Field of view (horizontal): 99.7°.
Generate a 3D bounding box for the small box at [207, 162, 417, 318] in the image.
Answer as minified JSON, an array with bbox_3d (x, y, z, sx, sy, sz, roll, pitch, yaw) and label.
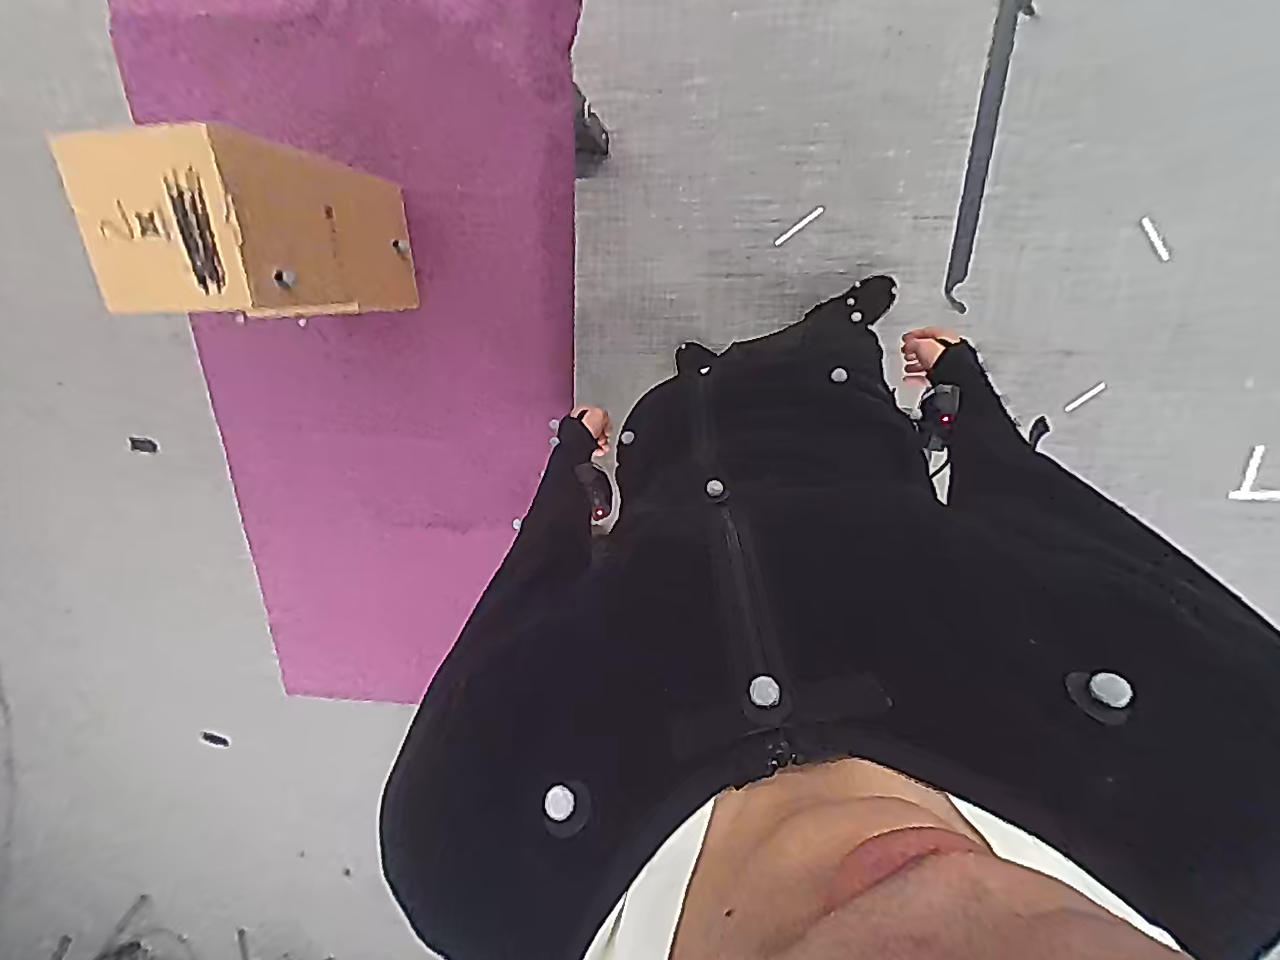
[{"bbox_3d":[-0.439,-0.321,0.756,0.168,0.176,0.179,-1,108,8],"label":"small box"}]
